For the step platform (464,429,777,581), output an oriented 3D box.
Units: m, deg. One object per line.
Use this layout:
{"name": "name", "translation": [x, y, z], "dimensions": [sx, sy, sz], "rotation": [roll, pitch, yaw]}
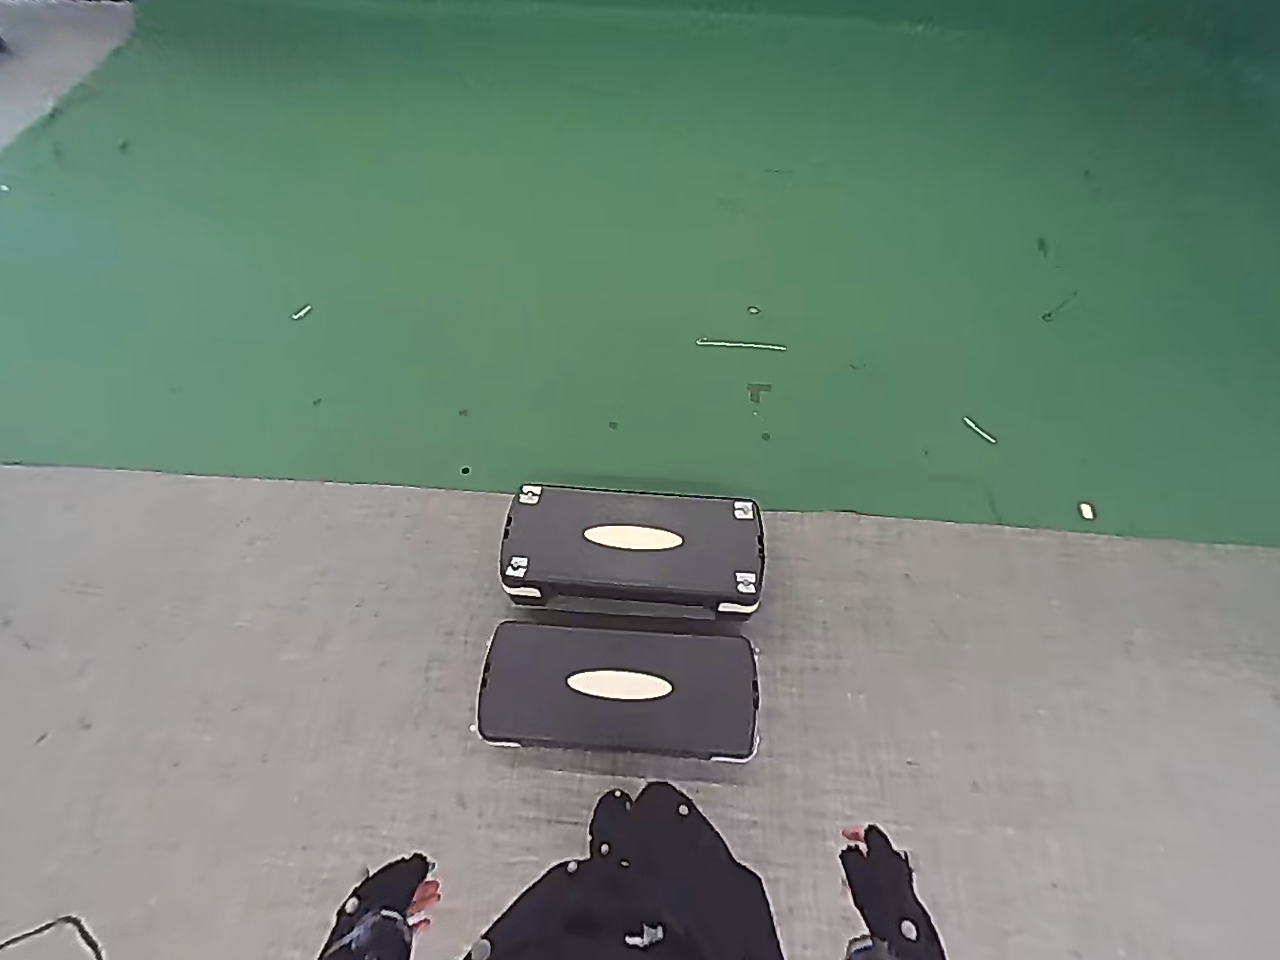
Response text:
{"name": "step platform", "translation": [-0.039, 0.065, 1.273], "dimensions": [0.684, 0.204, 0.286], "rotation": [3, 62, 2]}
